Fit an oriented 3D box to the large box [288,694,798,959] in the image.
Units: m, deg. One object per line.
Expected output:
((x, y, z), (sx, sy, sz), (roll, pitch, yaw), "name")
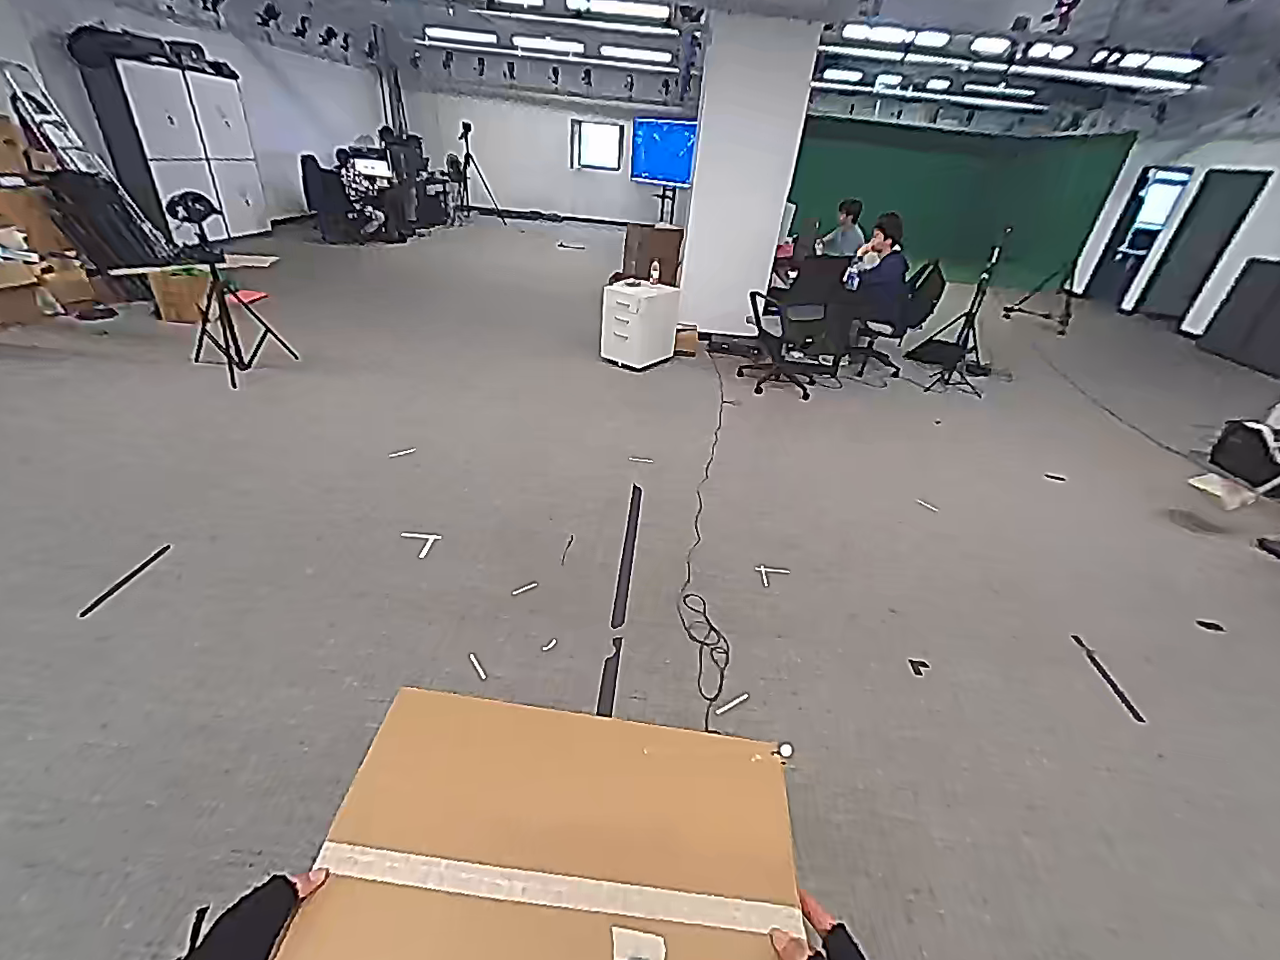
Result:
((-0.085, 0.465, 0.550), (0.408, 0.320, 0.320), (10, 37, -1), "large box")
